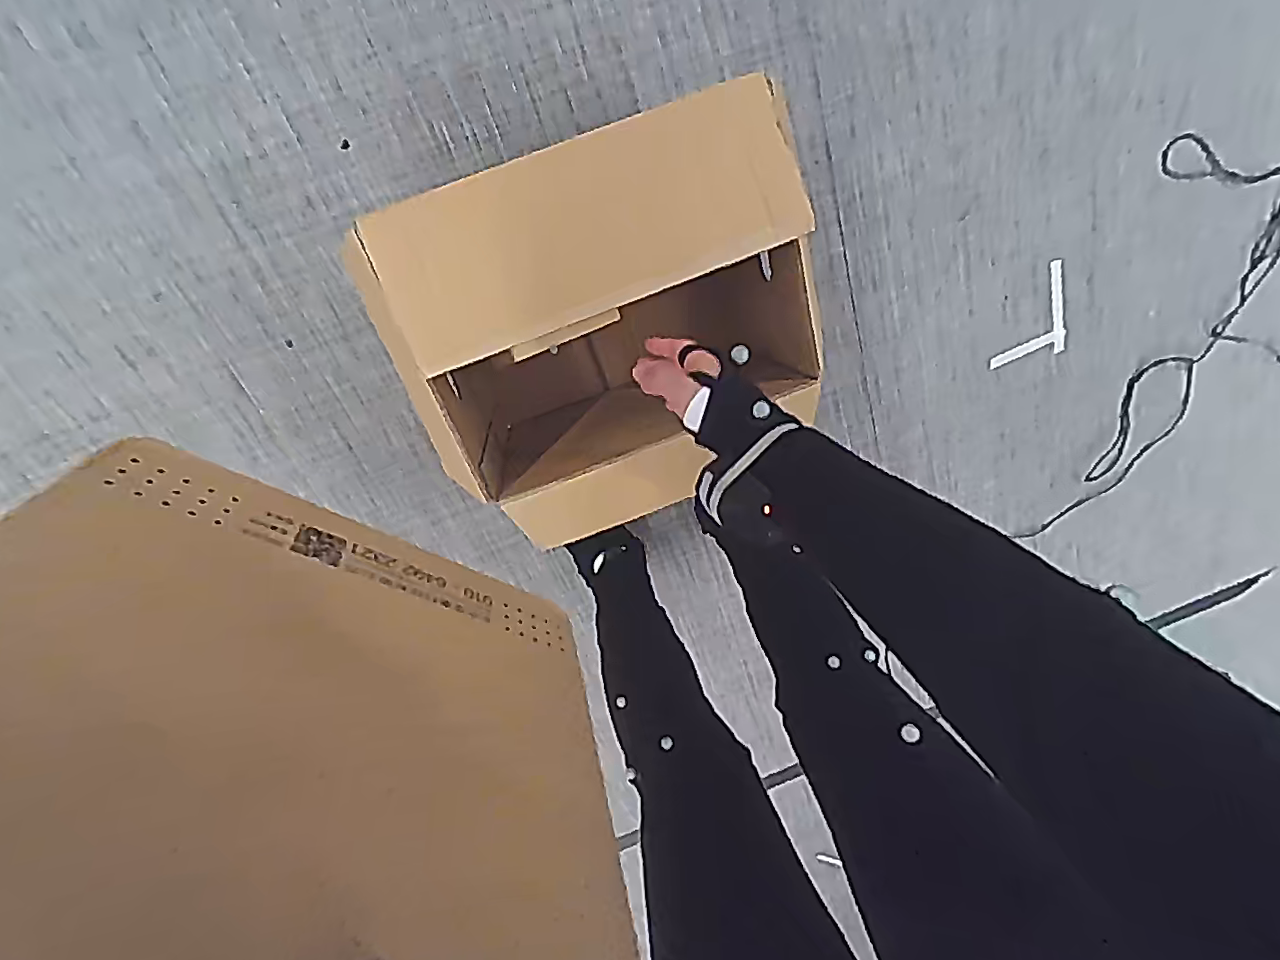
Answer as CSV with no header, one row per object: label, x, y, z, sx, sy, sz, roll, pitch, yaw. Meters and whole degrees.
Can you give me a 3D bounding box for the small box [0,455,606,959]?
small box,-0.123,0.126,0.160,0.168,0.176,0.179,31,107,-30
